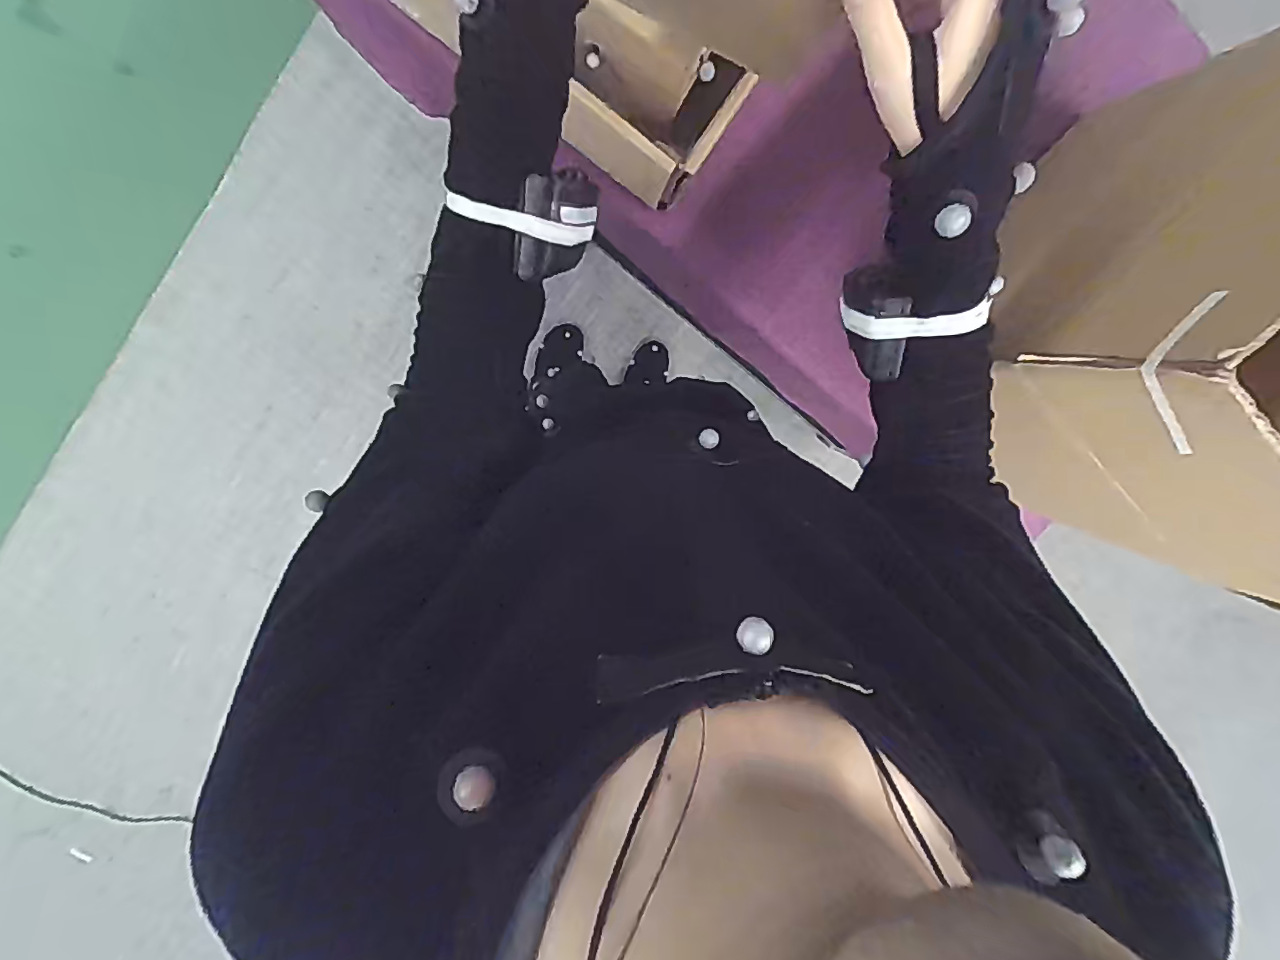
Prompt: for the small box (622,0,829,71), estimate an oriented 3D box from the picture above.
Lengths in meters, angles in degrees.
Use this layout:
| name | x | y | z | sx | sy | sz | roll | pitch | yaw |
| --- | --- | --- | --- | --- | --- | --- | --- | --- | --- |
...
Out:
| name | x | y | z | sx | sy | sz | roll | pitch | yaw |
| --- | --- | --- | --- | --- | --- | --- | --- | --- | --- |
| small box | 0.053 | -0.360 | 0.283 | 0.179 | 0.176 | 0.168 | 22 | 110 | -9 |
